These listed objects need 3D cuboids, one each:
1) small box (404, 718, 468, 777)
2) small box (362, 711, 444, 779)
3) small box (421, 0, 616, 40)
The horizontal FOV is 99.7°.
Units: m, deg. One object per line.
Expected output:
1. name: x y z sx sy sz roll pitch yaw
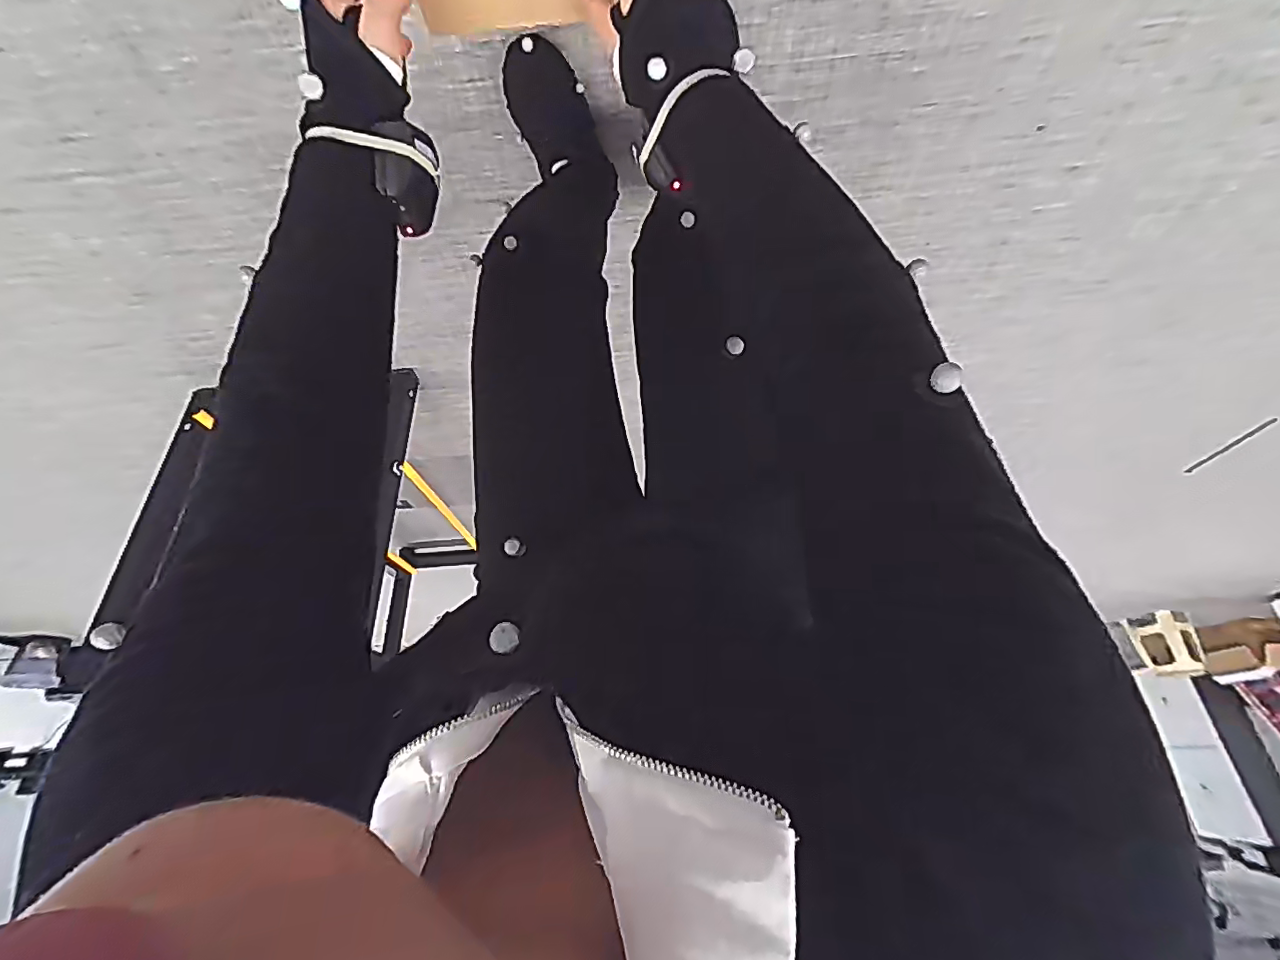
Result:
1. small box: -0.690 0.901 1.820 0.168 0.176 0.179 -4 151 2
2. small box: -0.697 0.790 1.616 0.179 0.176 0.168 -4 152 1
3. small box: -0.111 -0.508 0.439 0.168 0.176 0.179 -3 153 3
